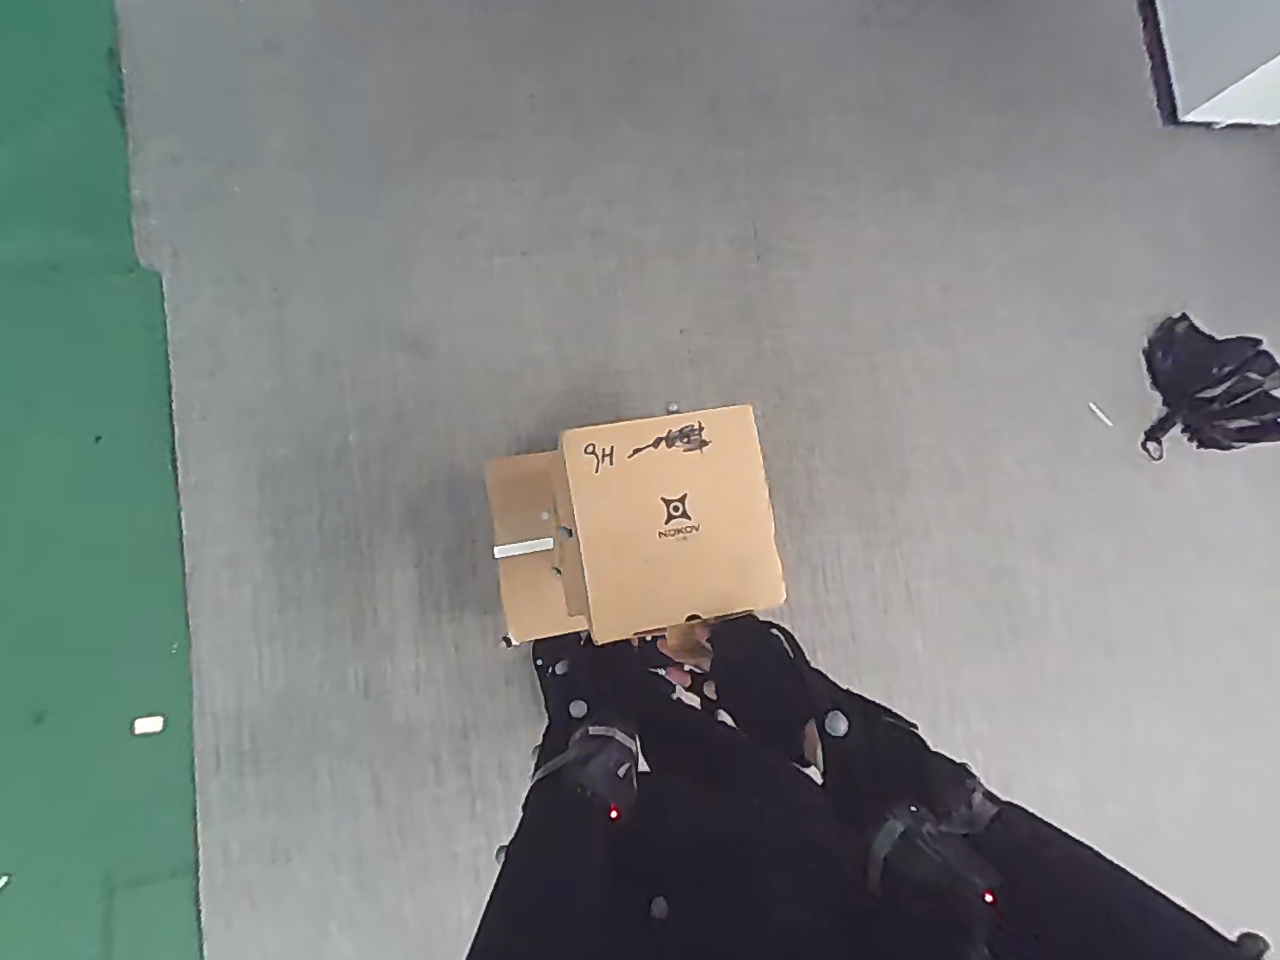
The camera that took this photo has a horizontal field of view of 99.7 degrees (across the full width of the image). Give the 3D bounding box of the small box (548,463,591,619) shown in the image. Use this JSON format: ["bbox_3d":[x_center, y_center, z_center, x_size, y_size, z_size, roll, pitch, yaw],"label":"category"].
[{"bbox_3d":[-0.022,0.060,0.689,0.168,0.176,0.179,-9,88,-10],"label":"small box"}]

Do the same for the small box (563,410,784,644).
[{"bbox_3d":[0.019,0.040,0.530,0.168,0.176,0.179,-10,89,-10],"label":"small box"}]
